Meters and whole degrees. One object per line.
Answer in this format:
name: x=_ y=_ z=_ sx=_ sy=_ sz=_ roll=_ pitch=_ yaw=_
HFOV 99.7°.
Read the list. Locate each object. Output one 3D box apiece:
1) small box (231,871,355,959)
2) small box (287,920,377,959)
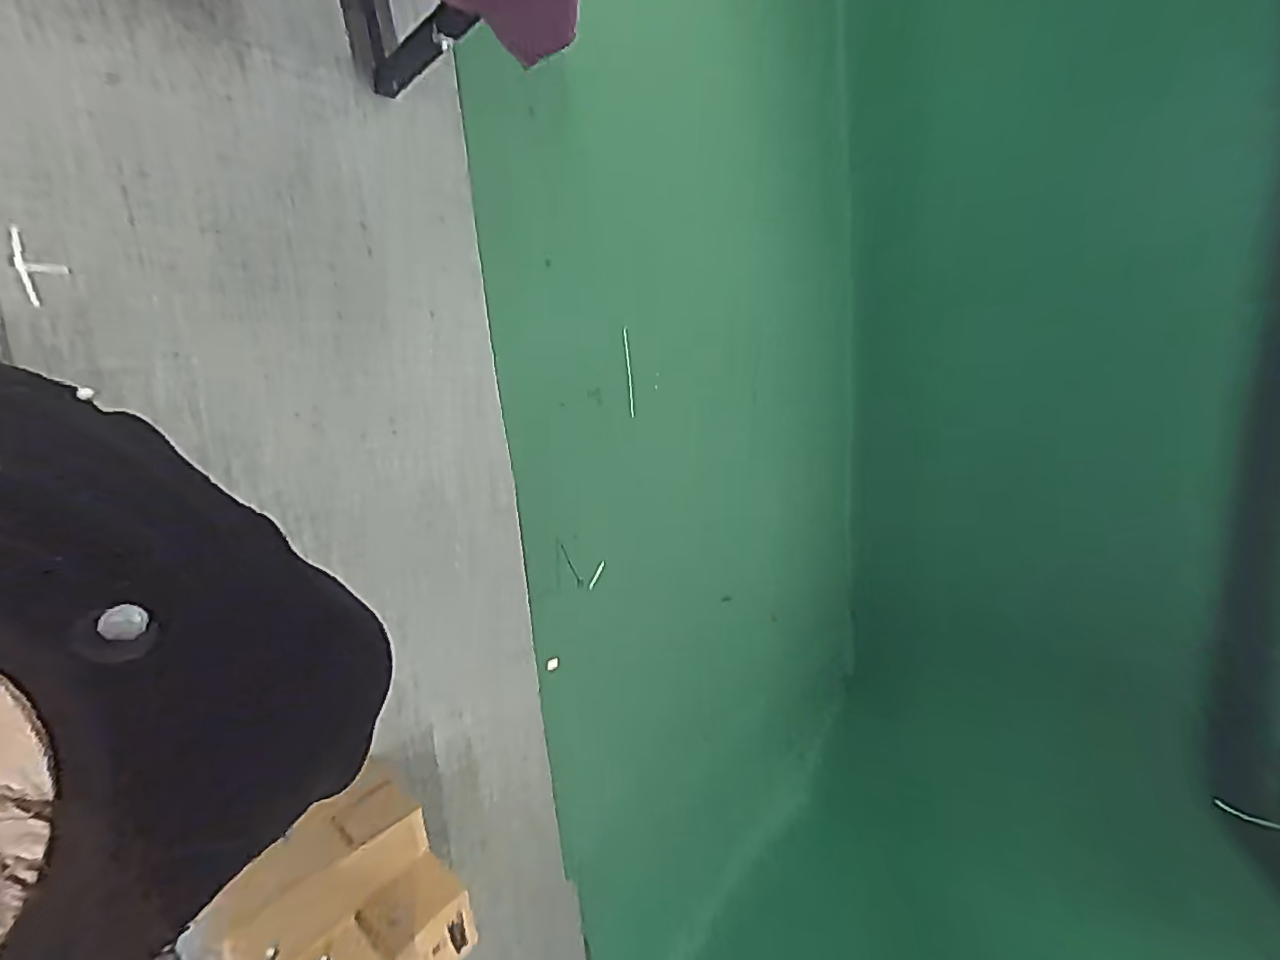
small box: x=-0.669 y=0.926 z=1.052 sx=0.179 sy=0.176 sz=0.168 roll=-15 pitch=106 yaw=-47
small box: x=-0.545 y=0.941 z=0.946 sx=0.168 sy=0.176 sz=0.179 roll=-15 pitch=105 yaw=-47
